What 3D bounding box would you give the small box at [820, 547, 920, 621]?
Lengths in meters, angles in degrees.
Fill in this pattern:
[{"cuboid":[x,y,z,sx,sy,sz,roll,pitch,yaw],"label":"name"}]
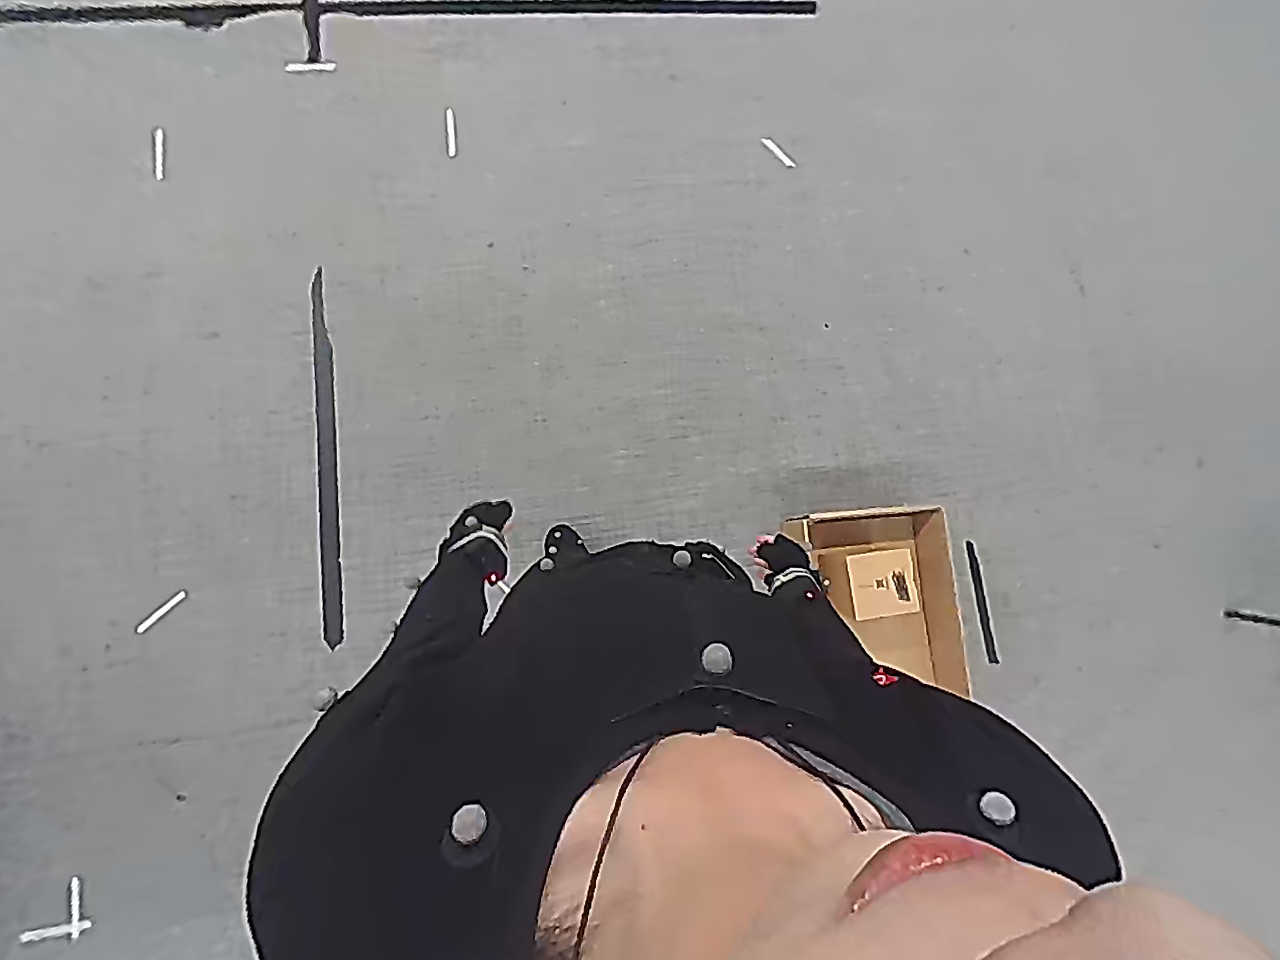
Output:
[{"cuboid":[0.610,0.273,1.450,0.179,0.176,0.168,-7,85,-7],"label":"small box"}]
